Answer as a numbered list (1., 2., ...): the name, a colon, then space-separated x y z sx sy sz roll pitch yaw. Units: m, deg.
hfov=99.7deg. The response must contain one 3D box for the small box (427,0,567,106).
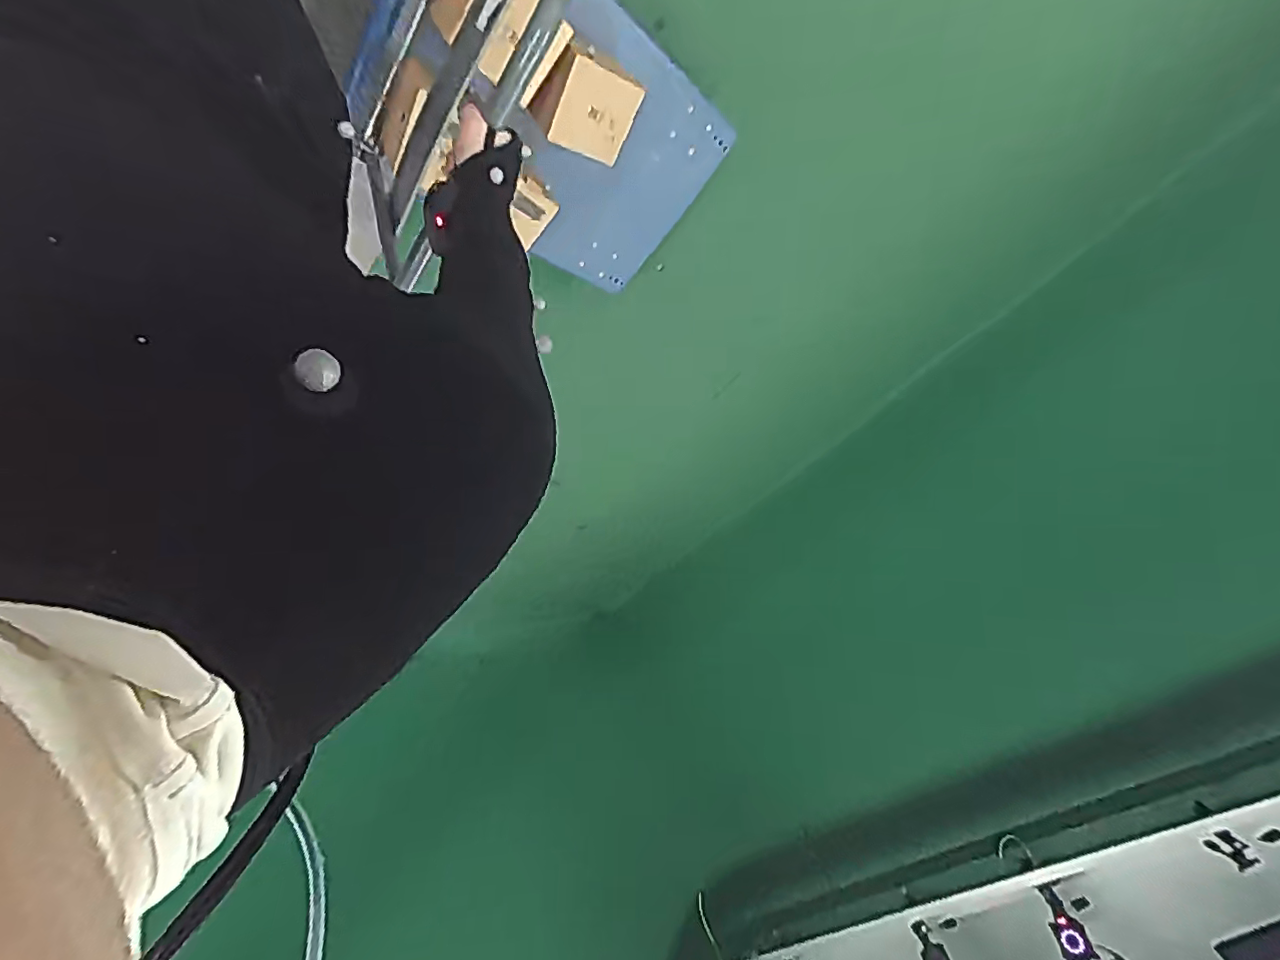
1. small box: -0.273 -0.873 1.021 0.168 0.176 0.179 -41 148 25

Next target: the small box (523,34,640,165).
1. small box: -0.136 -0.838 1.184 0.179 0.176 0.168 -1 142 -38
